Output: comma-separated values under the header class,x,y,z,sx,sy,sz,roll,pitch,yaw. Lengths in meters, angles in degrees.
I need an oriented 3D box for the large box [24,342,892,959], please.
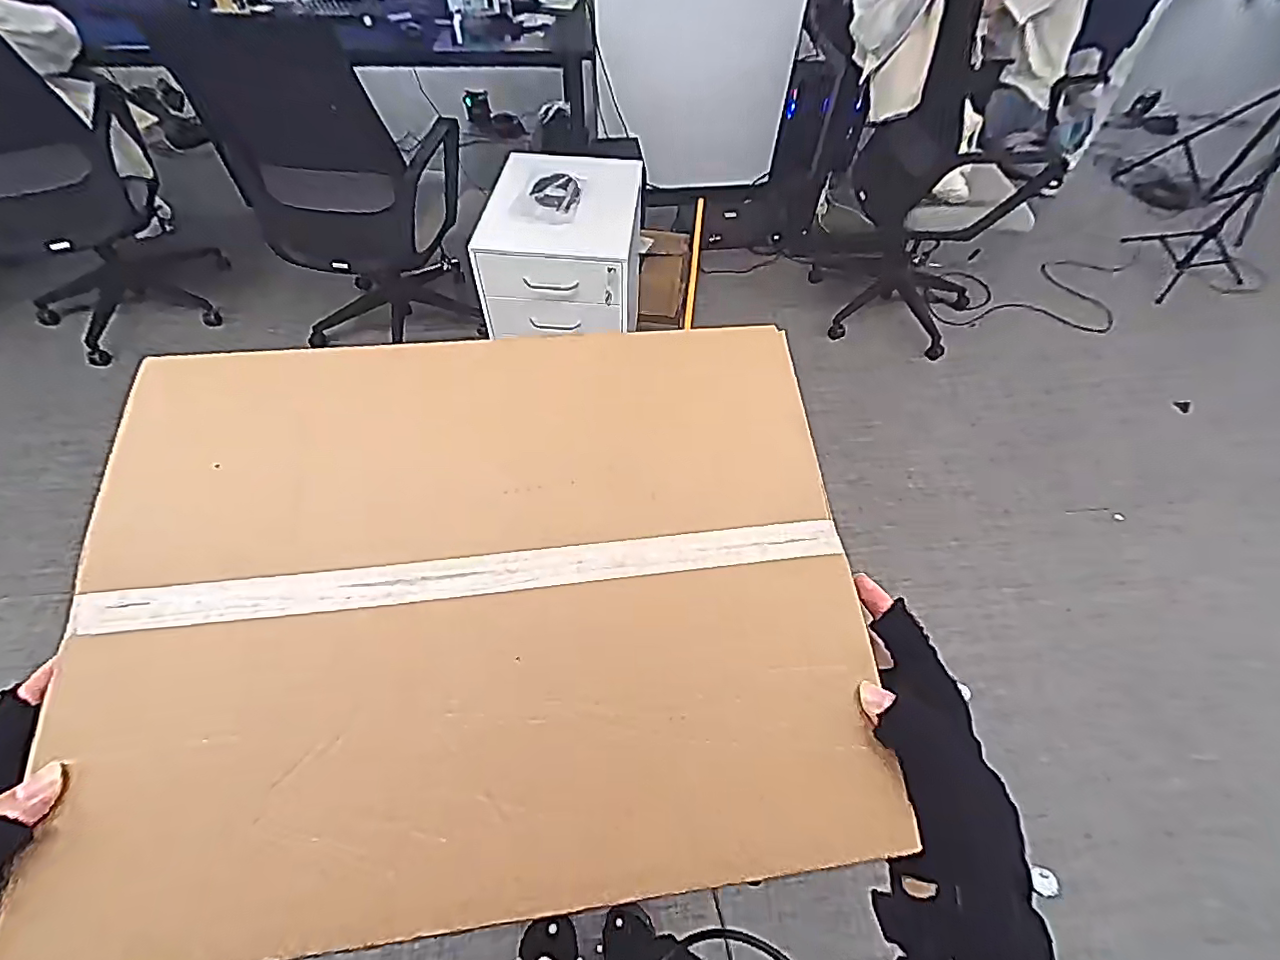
class,x,y,z,sx,sy,sz,roll,pitch,yaw
large box,-0.095,0.118,0.440,0.408,0.320,0.320,-5,67,-6
